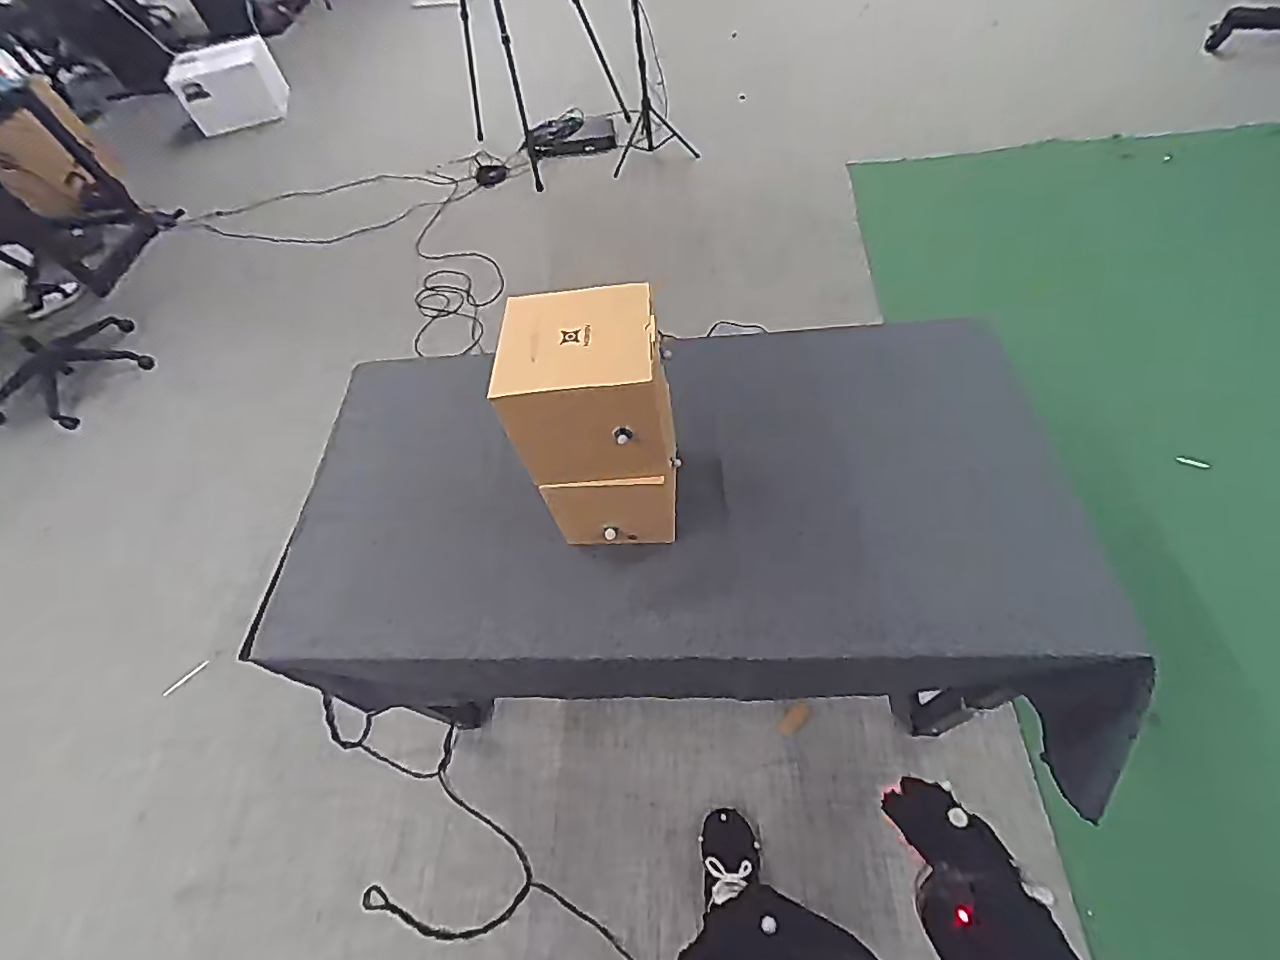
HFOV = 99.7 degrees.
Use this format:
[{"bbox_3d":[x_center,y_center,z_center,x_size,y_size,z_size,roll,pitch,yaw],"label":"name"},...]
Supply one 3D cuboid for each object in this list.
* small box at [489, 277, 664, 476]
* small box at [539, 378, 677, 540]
[{"bbox_3d":[-0.061,-0.119,0.662,0.179,0.176,0.168,-4,55,7],"label":"small box"},{"bbox_3d":[-0.035,-0.027,0.795,0.168,0.176,0.179,-2,57,8],"label":"small box"}]
